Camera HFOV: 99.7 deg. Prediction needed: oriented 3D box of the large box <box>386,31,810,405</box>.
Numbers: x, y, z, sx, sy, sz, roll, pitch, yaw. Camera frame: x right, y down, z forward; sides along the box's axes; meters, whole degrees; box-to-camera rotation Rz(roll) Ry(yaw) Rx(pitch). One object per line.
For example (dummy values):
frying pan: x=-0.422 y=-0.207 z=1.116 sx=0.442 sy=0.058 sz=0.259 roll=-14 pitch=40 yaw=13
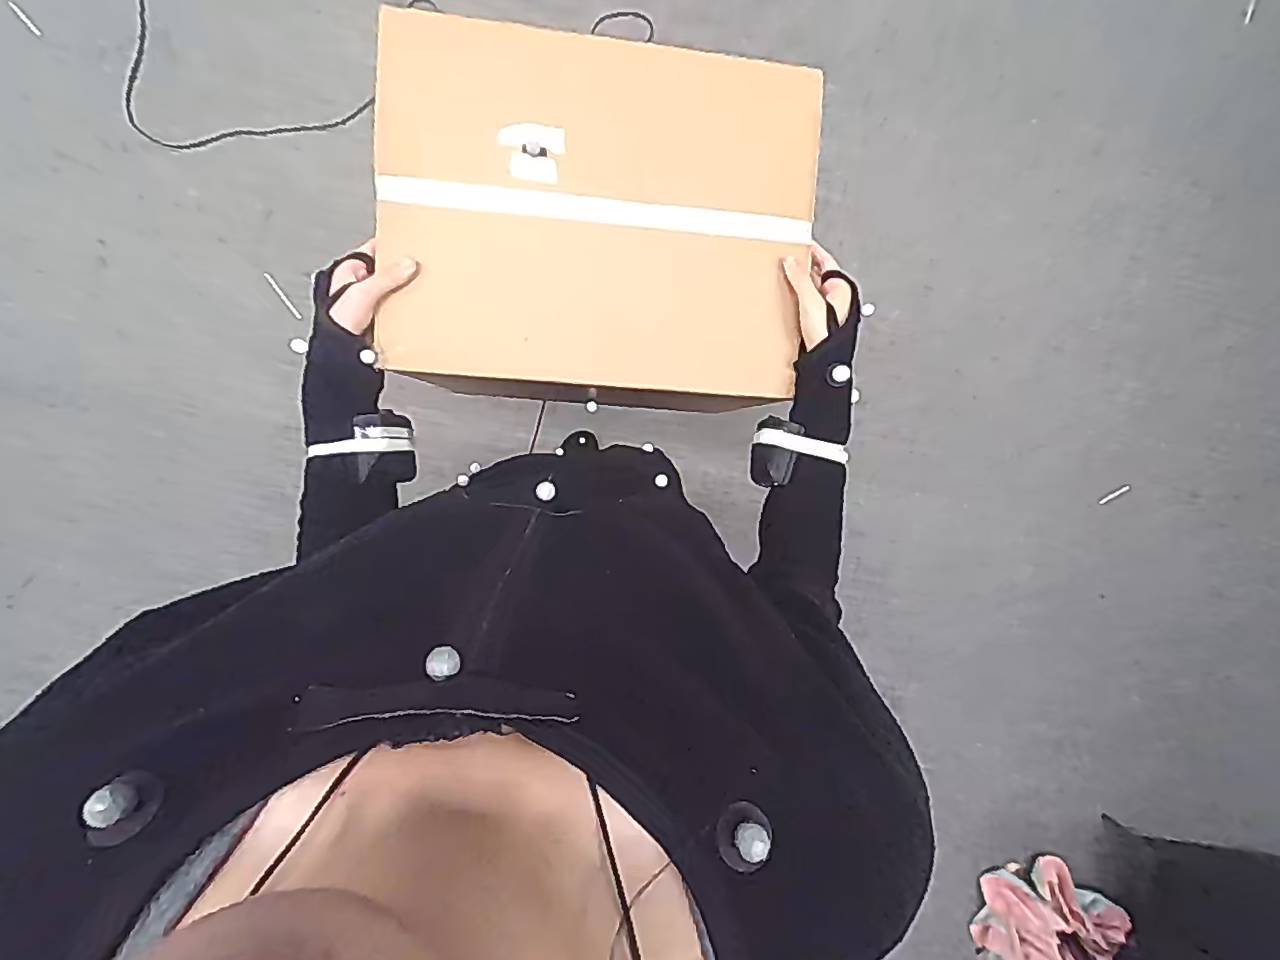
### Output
large box: x=-0.050 y=-0.260 z=0.667 sx=0.408 sy=0.320 sz=0.320 roll=3 pitch=94 yaw=-6
